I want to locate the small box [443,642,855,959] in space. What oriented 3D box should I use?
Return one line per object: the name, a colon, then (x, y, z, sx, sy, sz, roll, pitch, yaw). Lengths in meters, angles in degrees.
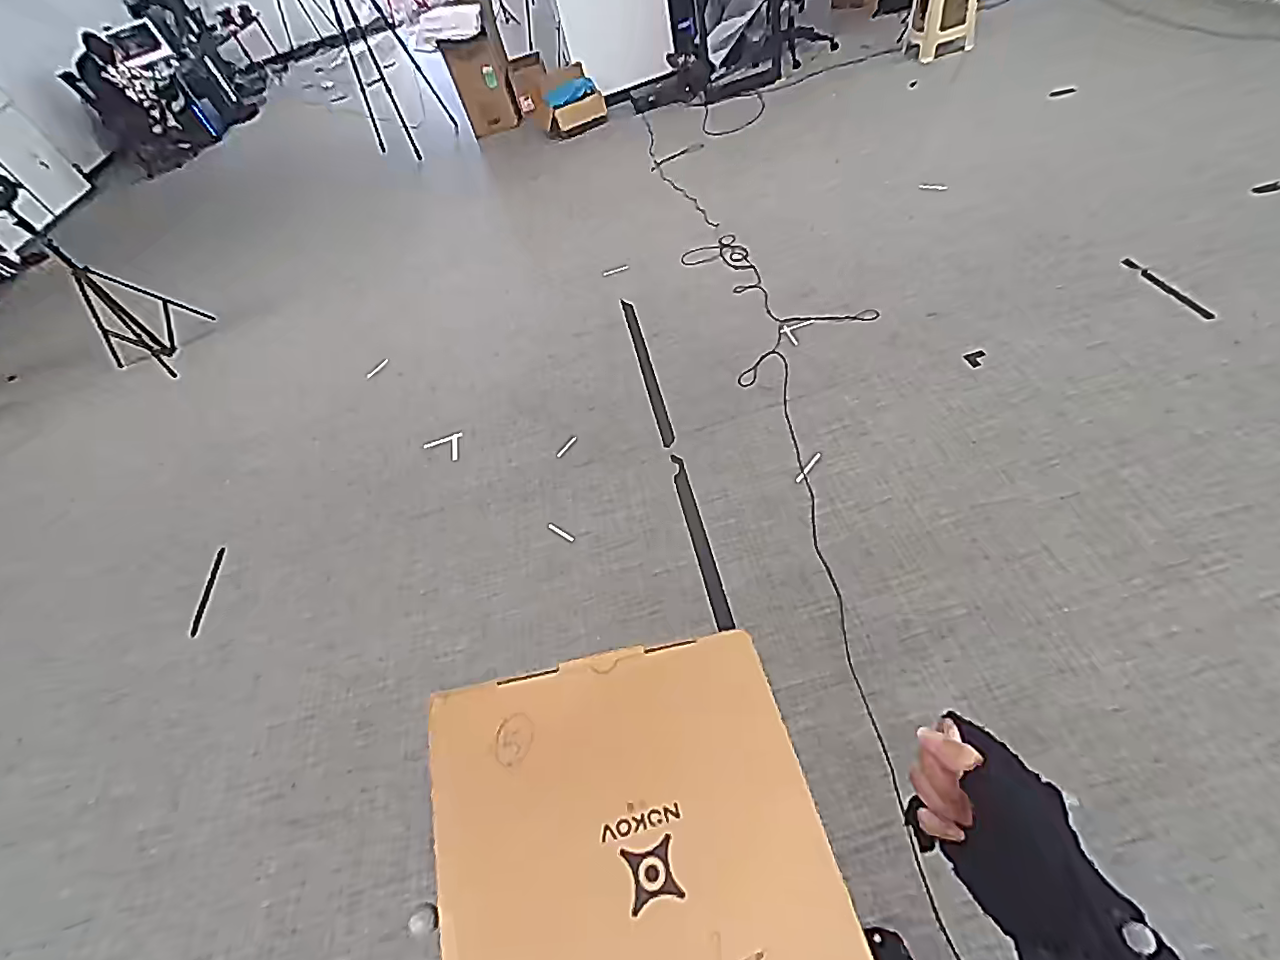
small box: (-0.016, 0.215, 0.301, 0.168, 0.176, 0.179, -6, 57, -19)
